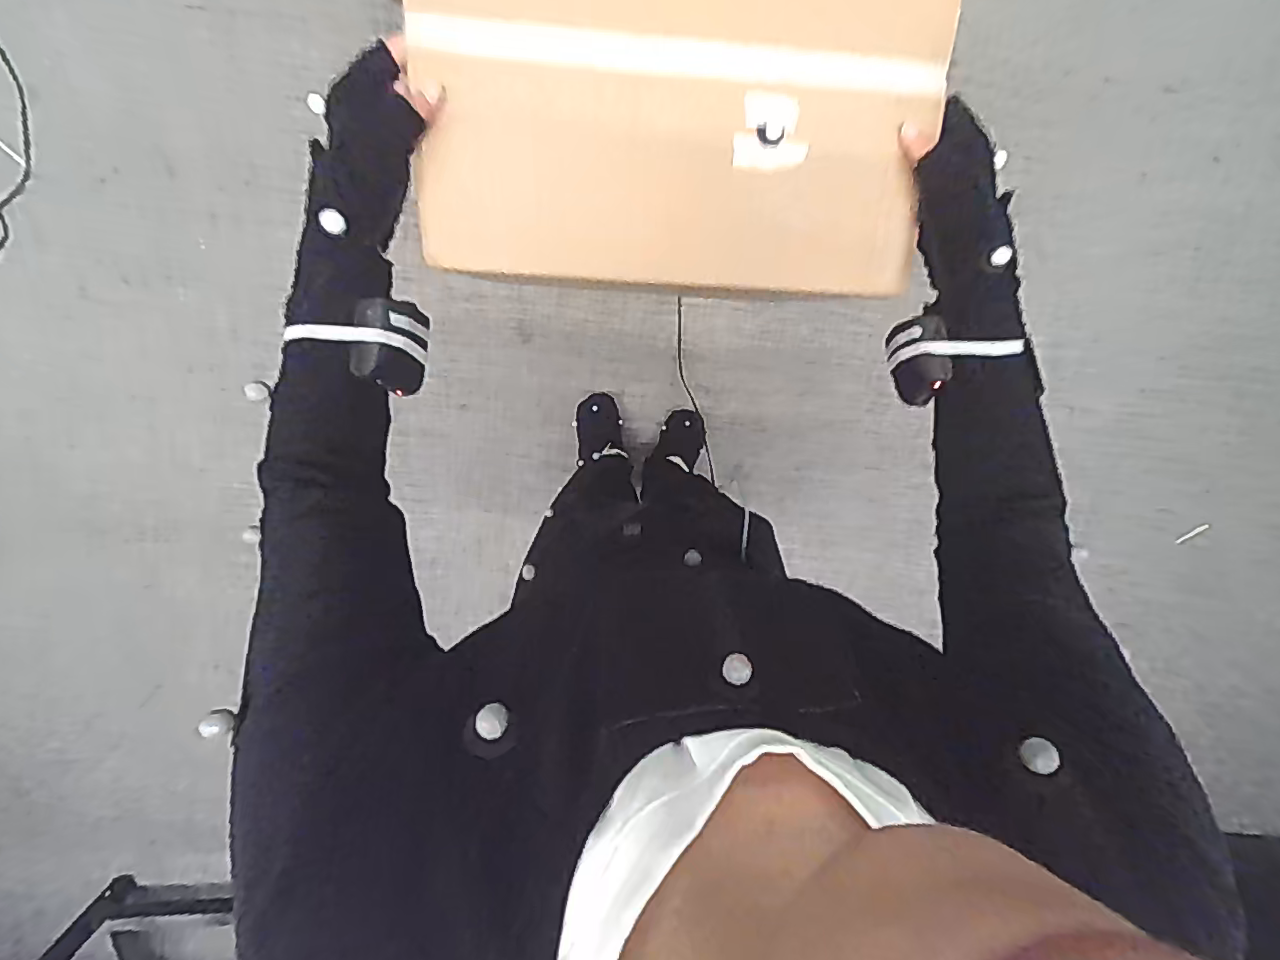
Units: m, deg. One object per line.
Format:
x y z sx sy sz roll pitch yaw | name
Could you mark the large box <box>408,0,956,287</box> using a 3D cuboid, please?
0.020 -0.366 0.536 0.408 0.320 0.320 1 108 -5 | large box
